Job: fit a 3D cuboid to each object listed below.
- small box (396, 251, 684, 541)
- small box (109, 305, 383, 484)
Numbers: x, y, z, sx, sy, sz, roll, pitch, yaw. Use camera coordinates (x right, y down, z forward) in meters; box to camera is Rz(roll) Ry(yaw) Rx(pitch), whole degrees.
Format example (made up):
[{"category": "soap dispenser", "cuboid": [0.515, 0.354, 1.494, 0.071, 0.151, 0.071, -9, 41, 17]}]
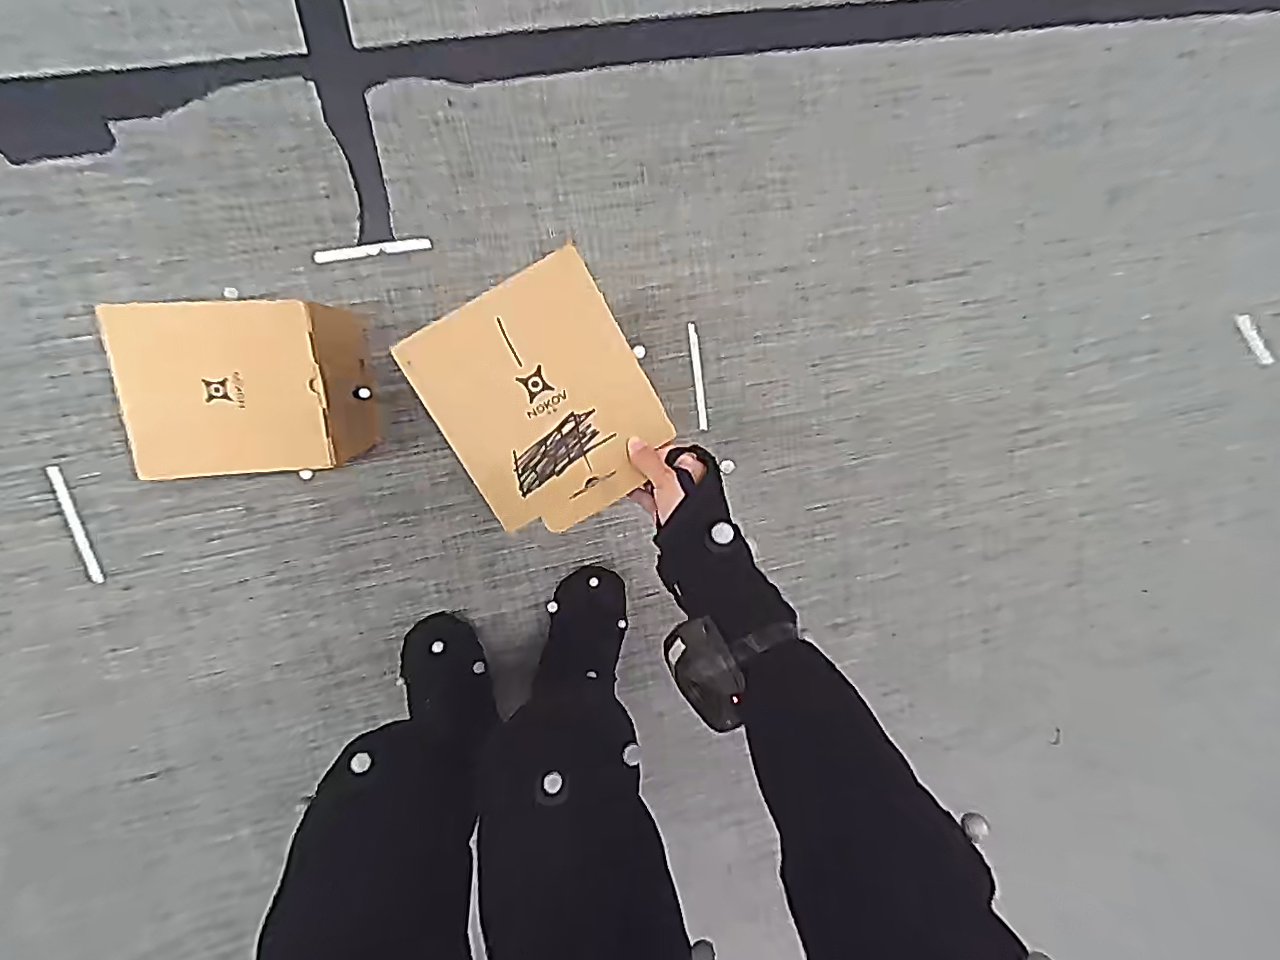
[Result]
[{"category": "small box", "cuboid": [-0.080, -0.076, 0.500, 0.168, 0.176, 0.179, -31, 102, 0]}, {"category": "small box", "cuboid": [-0.406, -0.096, 0.593, 0.179, 0.176, 0.168, -5, 102, -10]}]
